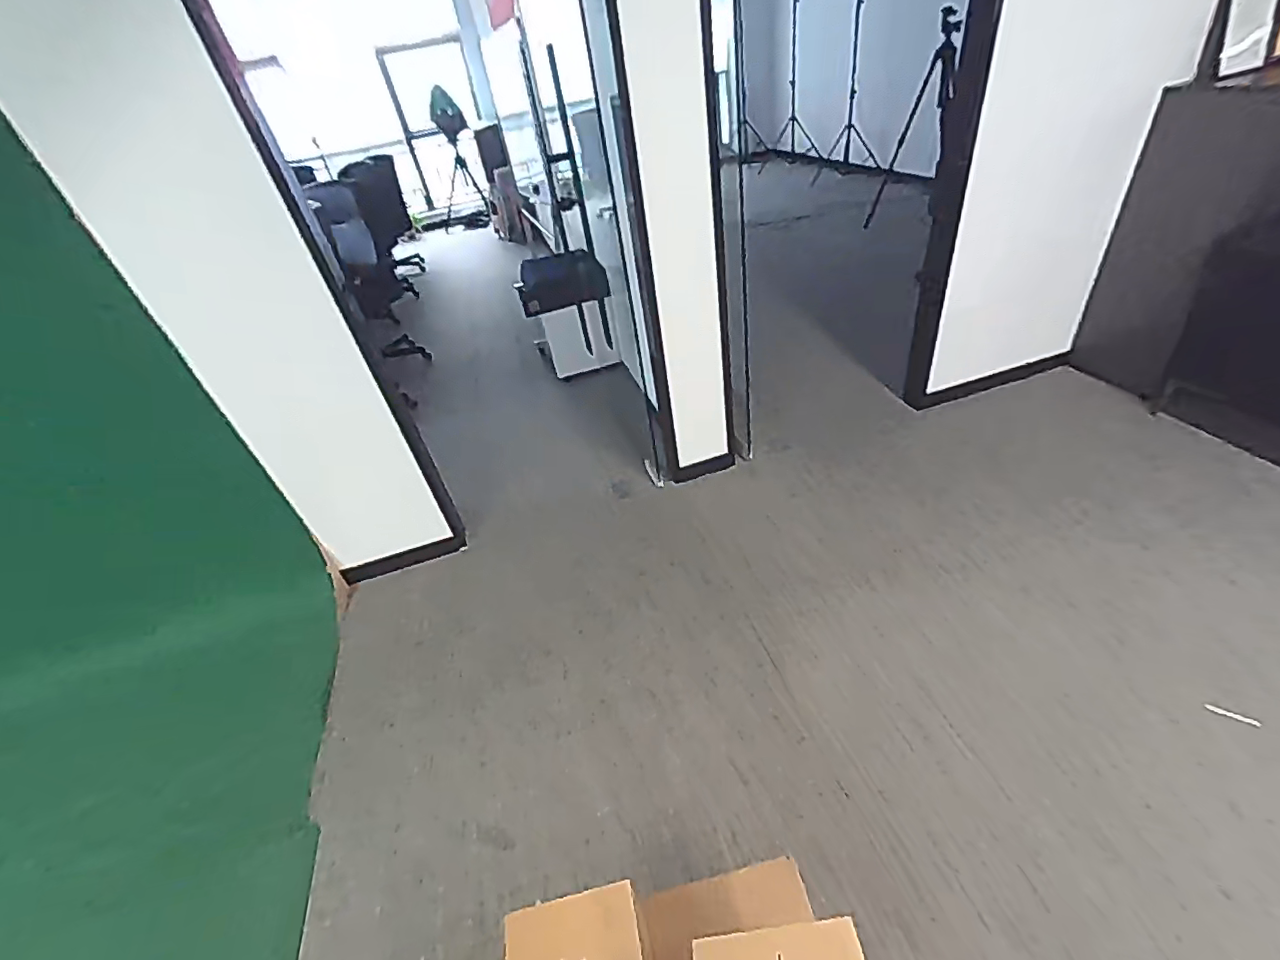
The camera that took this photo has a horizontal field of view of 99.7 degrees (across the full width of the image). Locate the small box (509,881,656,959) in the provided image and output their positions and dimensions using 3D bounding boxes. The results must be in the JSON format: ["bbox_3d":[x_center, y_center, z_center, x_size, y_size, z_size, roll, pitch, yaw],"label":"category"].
[{"bbox_3d":[-0.064,0.671,0.714,0.179,0.176,0.168,-14,37,-4],"label":"small box"}]

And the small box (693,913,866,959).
[{"bbox_3d":[0.152,0.564,0.525,0.168,0.176,0.179,-10,35,1],"label":"small box"}]
